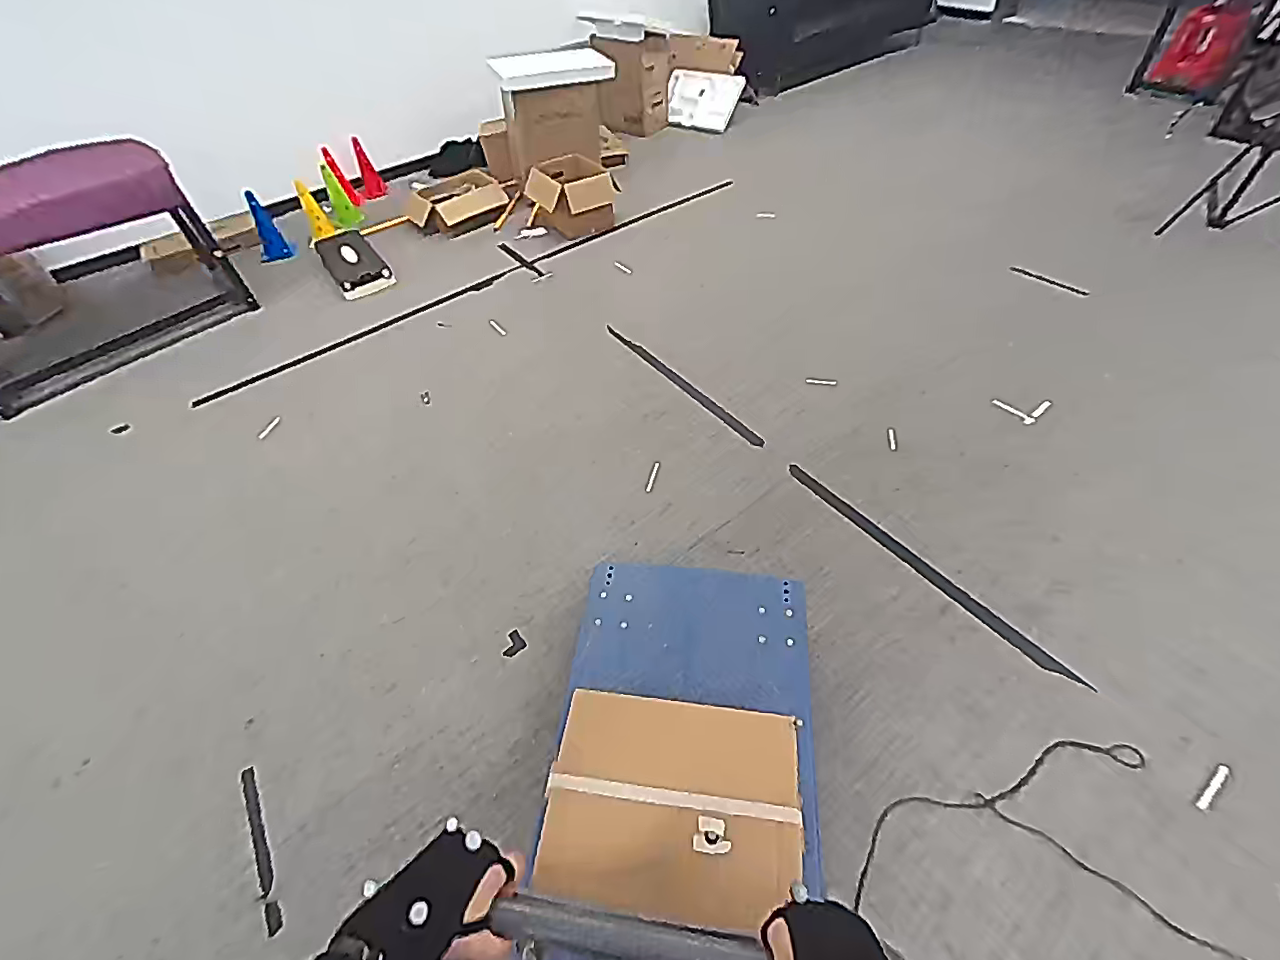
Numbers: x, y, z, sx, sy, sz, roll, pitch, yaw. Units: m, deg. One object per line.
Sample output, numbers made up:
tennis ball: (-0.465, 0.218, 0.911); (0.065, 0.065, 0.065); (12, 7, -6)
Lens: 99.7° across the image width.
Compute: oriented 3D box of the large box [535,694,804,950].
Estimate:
large box: (0.061, 0.625, 0.992); (0.408, 0.320, 0.320); (5, 49, 8)
